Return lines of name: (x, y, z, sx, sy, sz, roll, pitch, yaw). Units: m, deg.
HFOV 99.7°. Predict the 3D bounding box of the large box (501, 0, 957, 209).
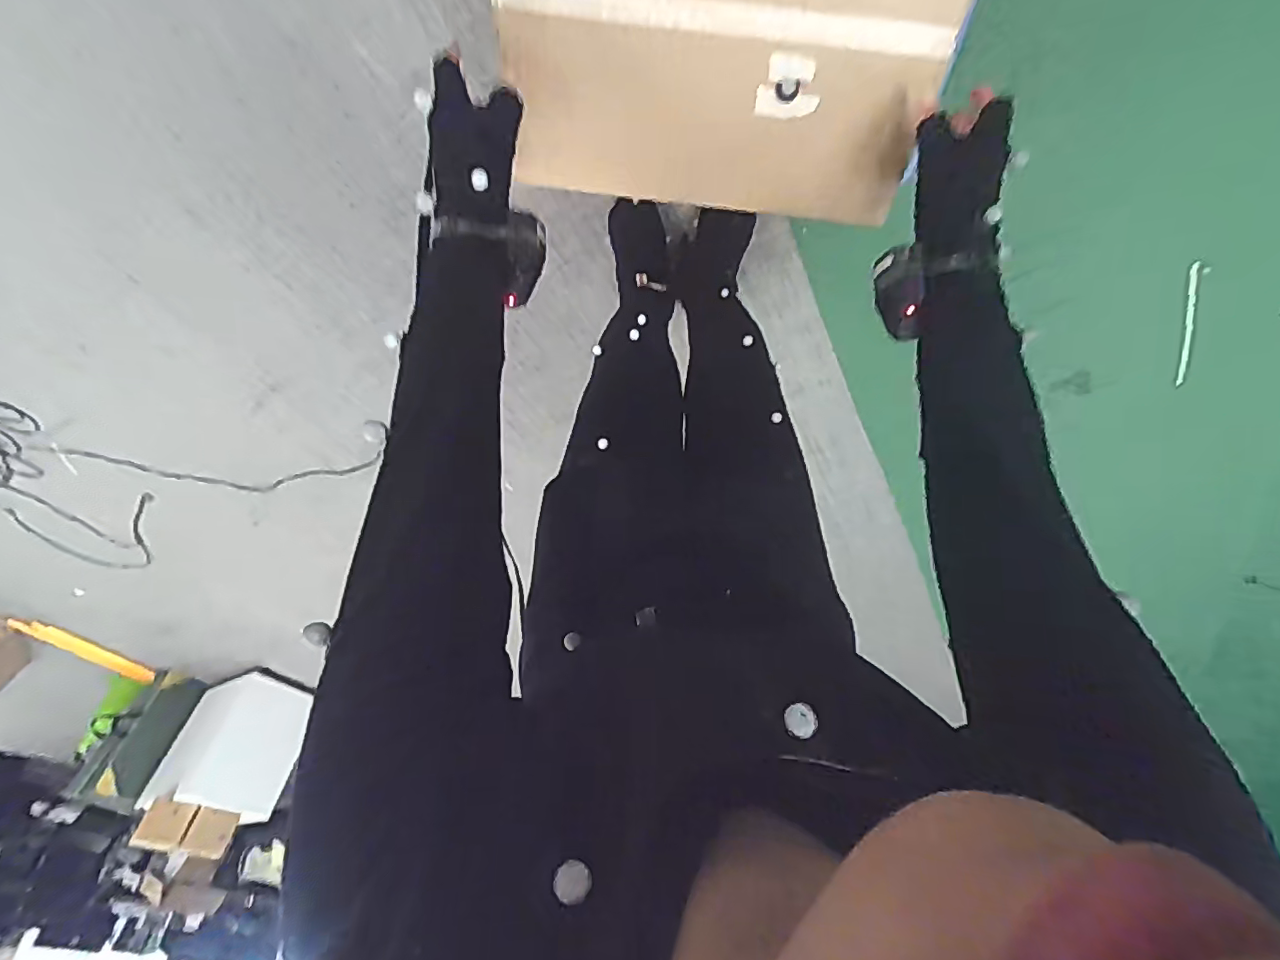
large box: (0.080, -0.520, 0.581, 0.408, 0.320, 0.320, 6, 134, -2)
